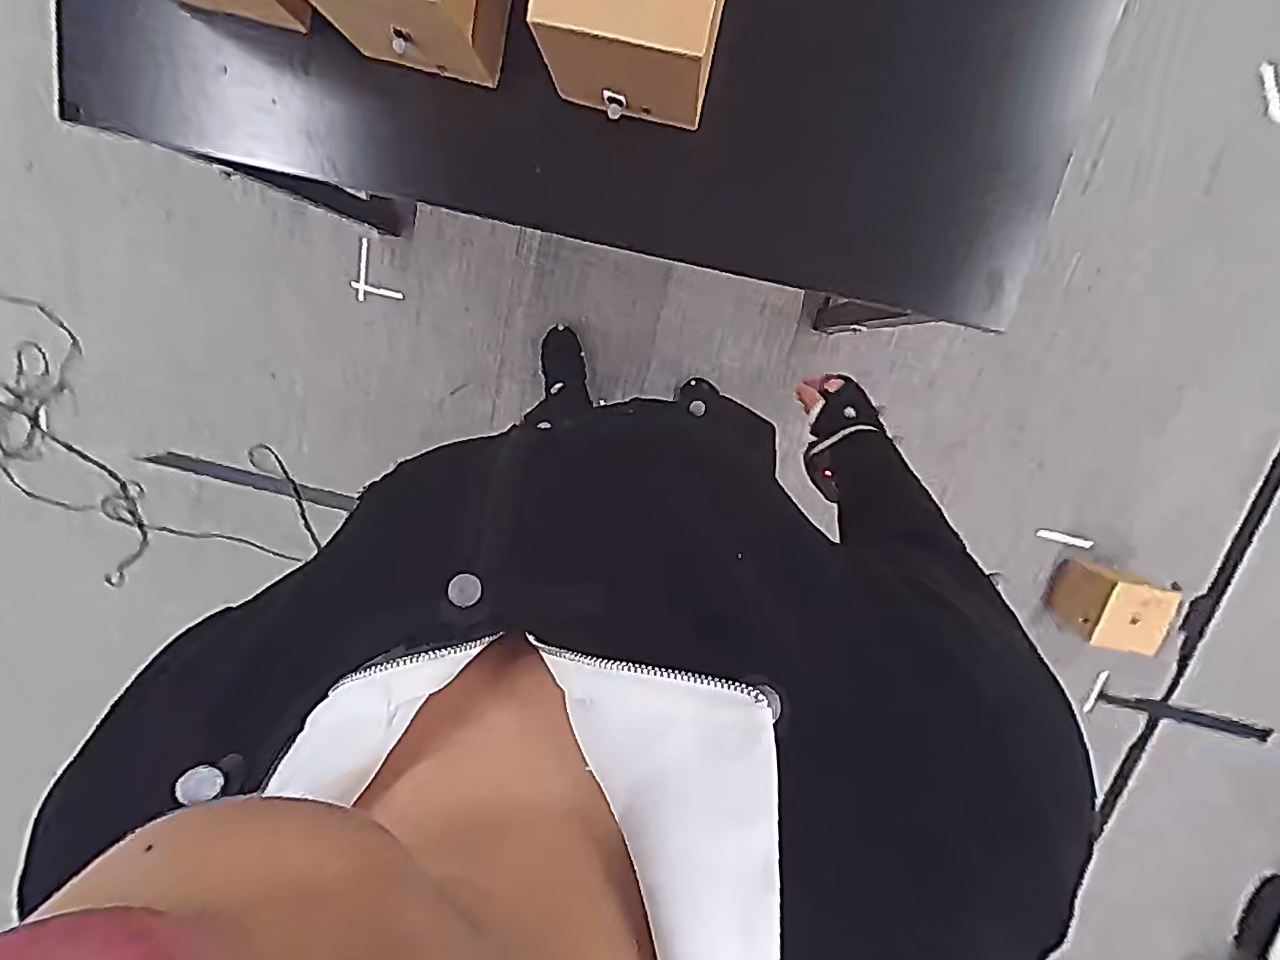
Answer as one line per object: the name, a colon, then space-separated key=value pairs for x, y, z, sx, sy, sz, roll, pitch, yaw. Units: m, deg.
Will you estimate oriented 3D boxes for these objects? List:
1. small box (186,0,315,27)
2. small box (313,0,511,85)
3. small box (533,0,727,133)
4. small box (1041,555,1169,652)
small box: x=-0.455 y=-0.604 z=0.540 sx=0.179 sy=0.176 sz=0.168 roll=13 pitch=104 yaw=-1
small box: x=-0.230 y=-0.544 z=0.546 sx=0.168 sy=0.176 sz=0.179 roll=13 pitch=104 yaw=-2
small box: x=0.003 y=-0.493 z=0.549 sx=0.168 sy=0.176 sz=0.179 roll=12 pitch=104 yaw=1
small box: x=1.218 y=0.322 z=1.435 sx=0.168 sy=0.176 sz=0.179 roll=12 pitch=103 yaw=0
